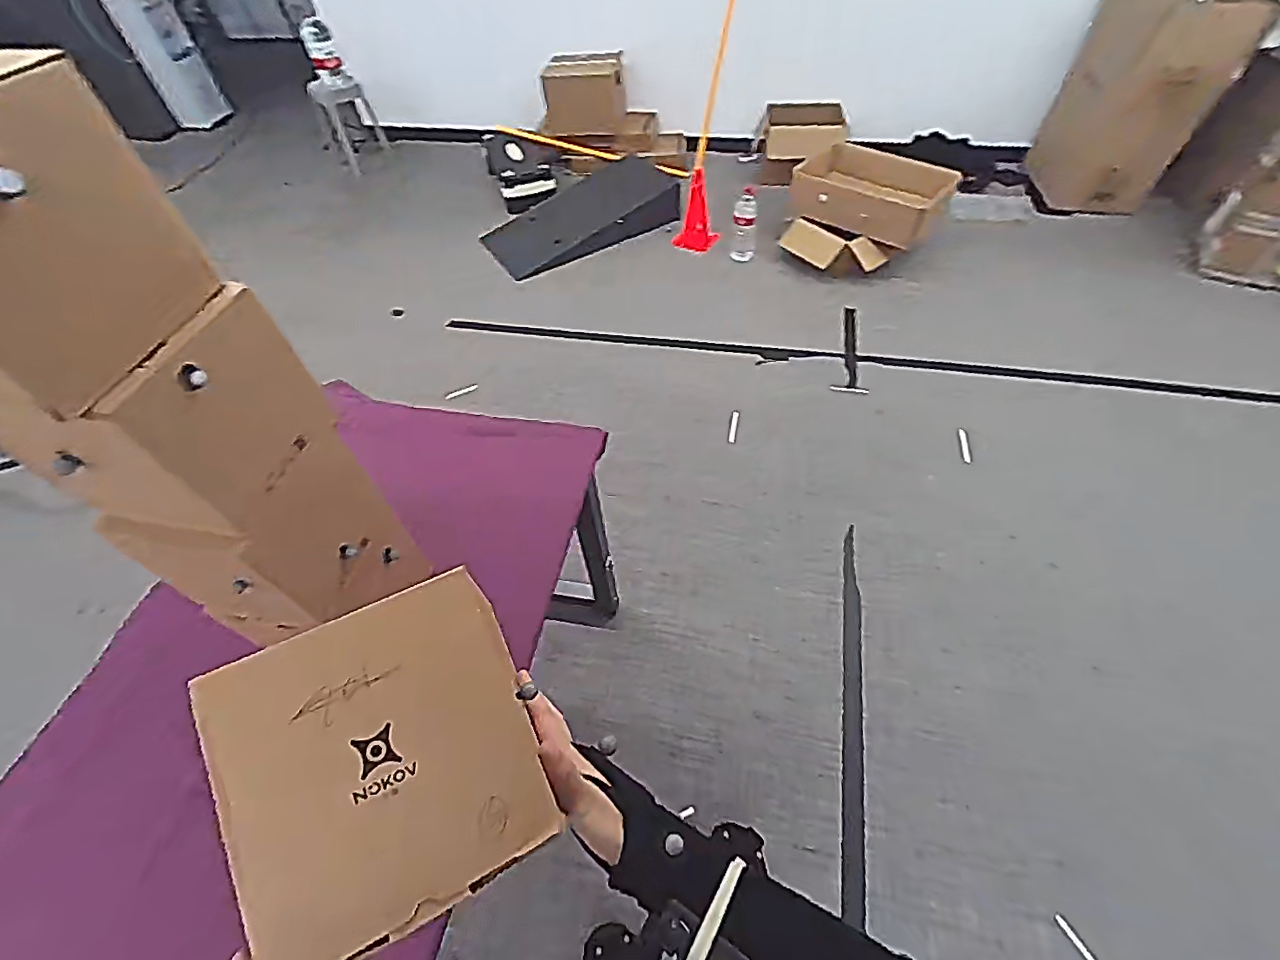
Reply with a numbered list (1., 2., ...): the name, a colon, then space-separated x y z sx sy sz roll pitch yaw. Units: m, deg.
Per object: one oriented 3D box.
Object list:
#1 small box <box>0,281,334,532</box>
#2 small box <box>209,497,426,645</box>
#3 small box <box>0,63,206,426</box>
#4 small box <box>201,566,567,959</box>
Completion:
1. small box: -0.439 -0.067 0.506 0.179 0.176 0.168 6 53 9
2. small box: -0.424 0.148 0.753 0.168 0.176 0.179 6 54 9
3. small box: -0.461 -0.163 0.375 0.168 0.176 0.179 6 53 8
4. small box: -0.161 0.187 0.393 0.168 0.176 0.179 -23 74 -17
